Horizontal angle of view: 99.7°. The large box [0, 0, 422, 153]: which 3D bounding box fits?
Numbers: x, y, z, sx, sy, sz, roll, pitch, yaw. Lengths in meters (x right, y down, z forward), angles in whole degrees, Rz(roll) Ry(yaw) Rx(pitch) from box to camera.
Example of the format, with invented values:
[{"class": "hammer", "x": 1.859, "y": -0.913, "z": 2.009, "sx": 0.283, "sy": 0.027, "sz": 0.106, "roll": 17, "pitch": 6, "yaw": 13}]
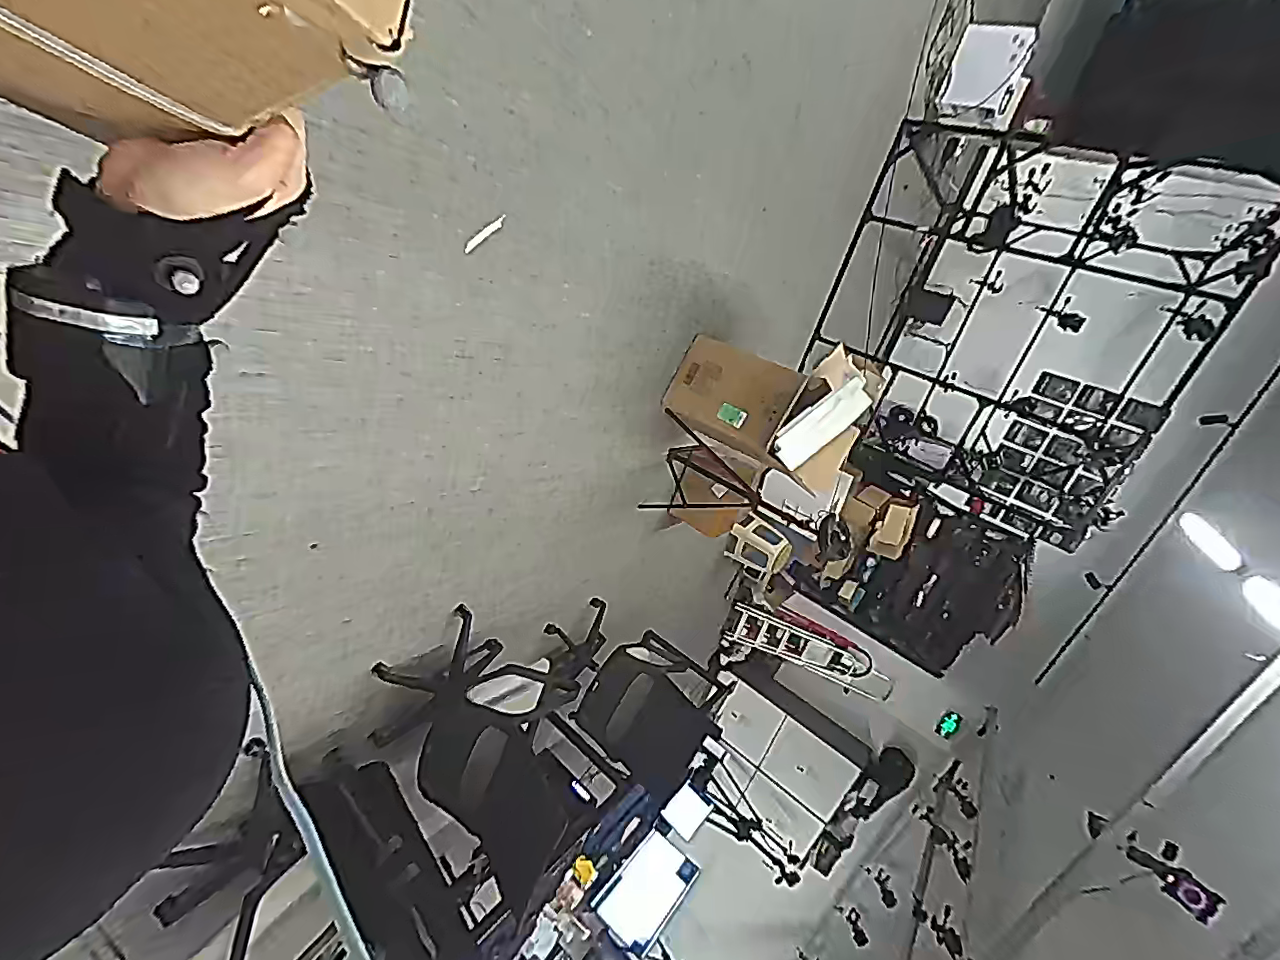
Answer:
[{"class": "large box", "x": -0.268, "y": -0.348, "z": 0.100, "sx": 0.408, "sy": 0.320, "sz": 0.320, "roll": 11, "pitch": 95, "yaw": -54}]
